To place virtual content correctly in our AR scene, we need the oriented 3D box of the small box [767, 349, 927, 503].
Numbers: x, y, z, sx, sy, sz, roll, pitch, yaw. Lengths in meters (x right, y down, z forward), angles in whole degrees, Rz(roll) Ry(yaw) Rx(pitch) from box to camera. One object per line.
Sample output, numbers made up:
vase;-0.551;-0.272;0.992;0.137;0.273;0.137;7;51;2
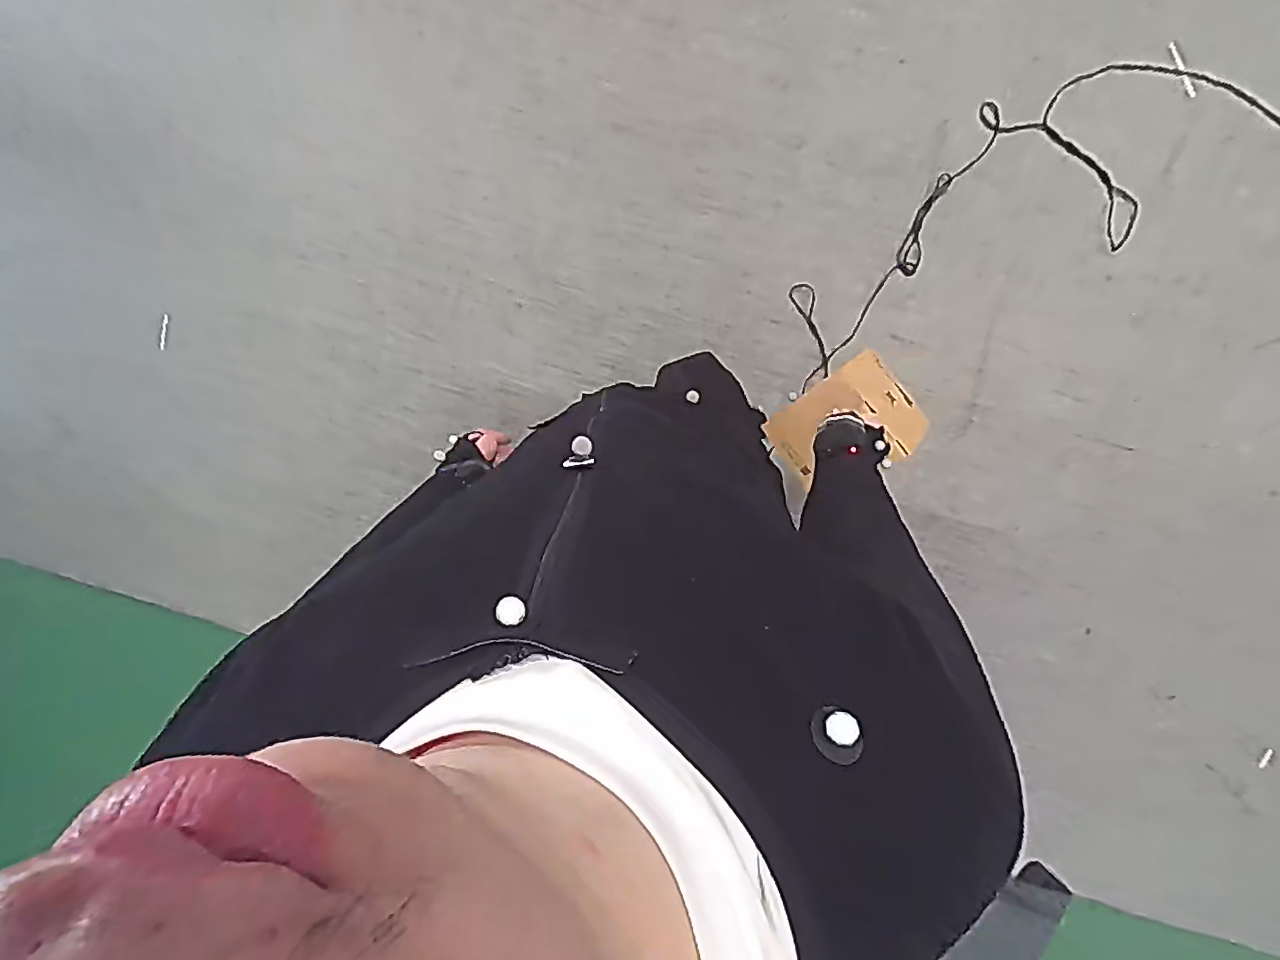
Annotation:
small box;0.342;-0.088;0.910;0.168;0.179;0.176;50;133;4
